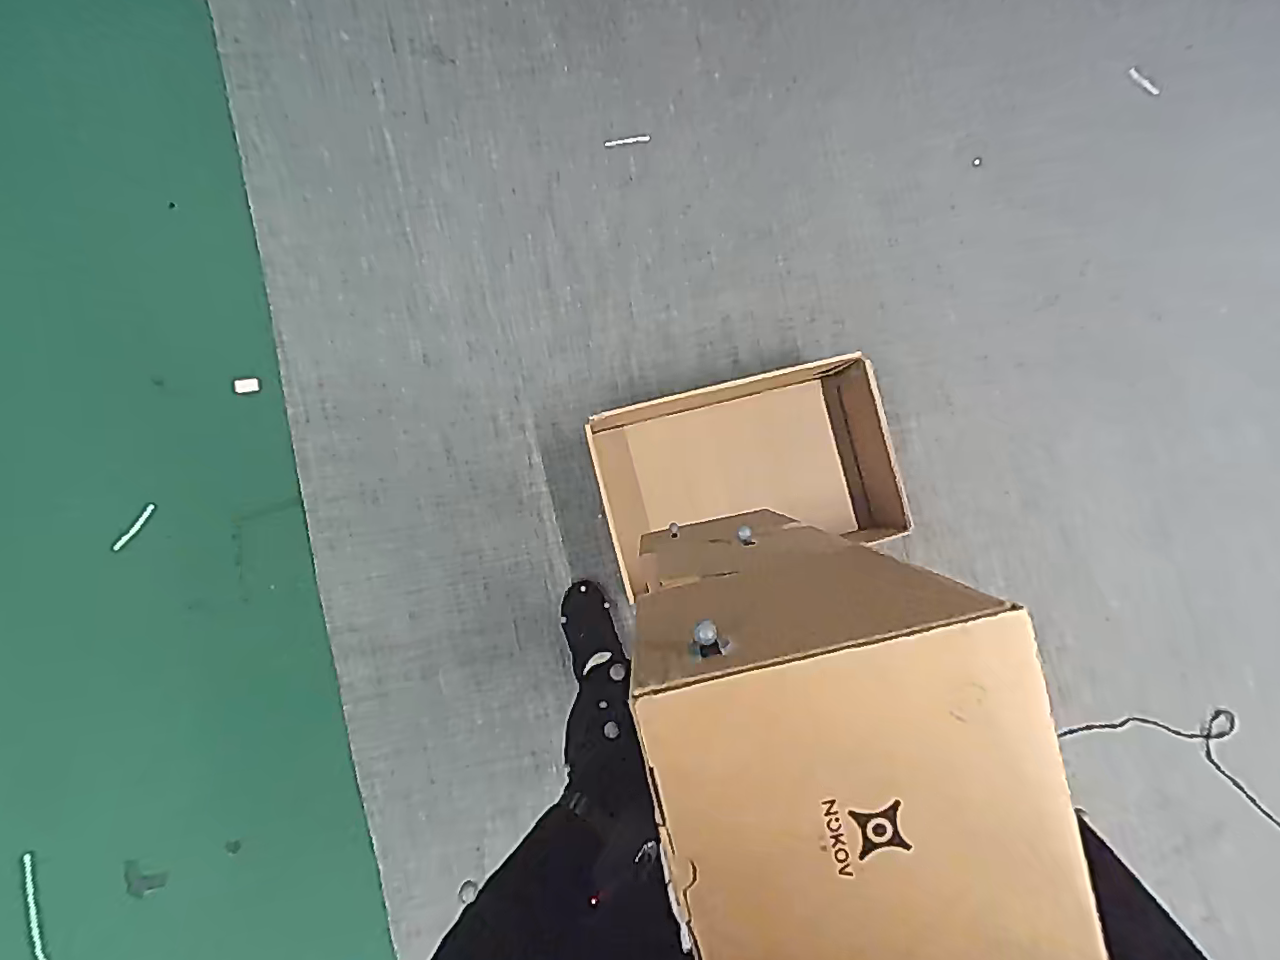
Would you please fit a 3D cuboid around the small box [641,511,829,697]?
[{"bbox_3d":[0.103,0.136,0.650,0.179,0.176,0.168,-11,91,1],"label":"small box"}]
